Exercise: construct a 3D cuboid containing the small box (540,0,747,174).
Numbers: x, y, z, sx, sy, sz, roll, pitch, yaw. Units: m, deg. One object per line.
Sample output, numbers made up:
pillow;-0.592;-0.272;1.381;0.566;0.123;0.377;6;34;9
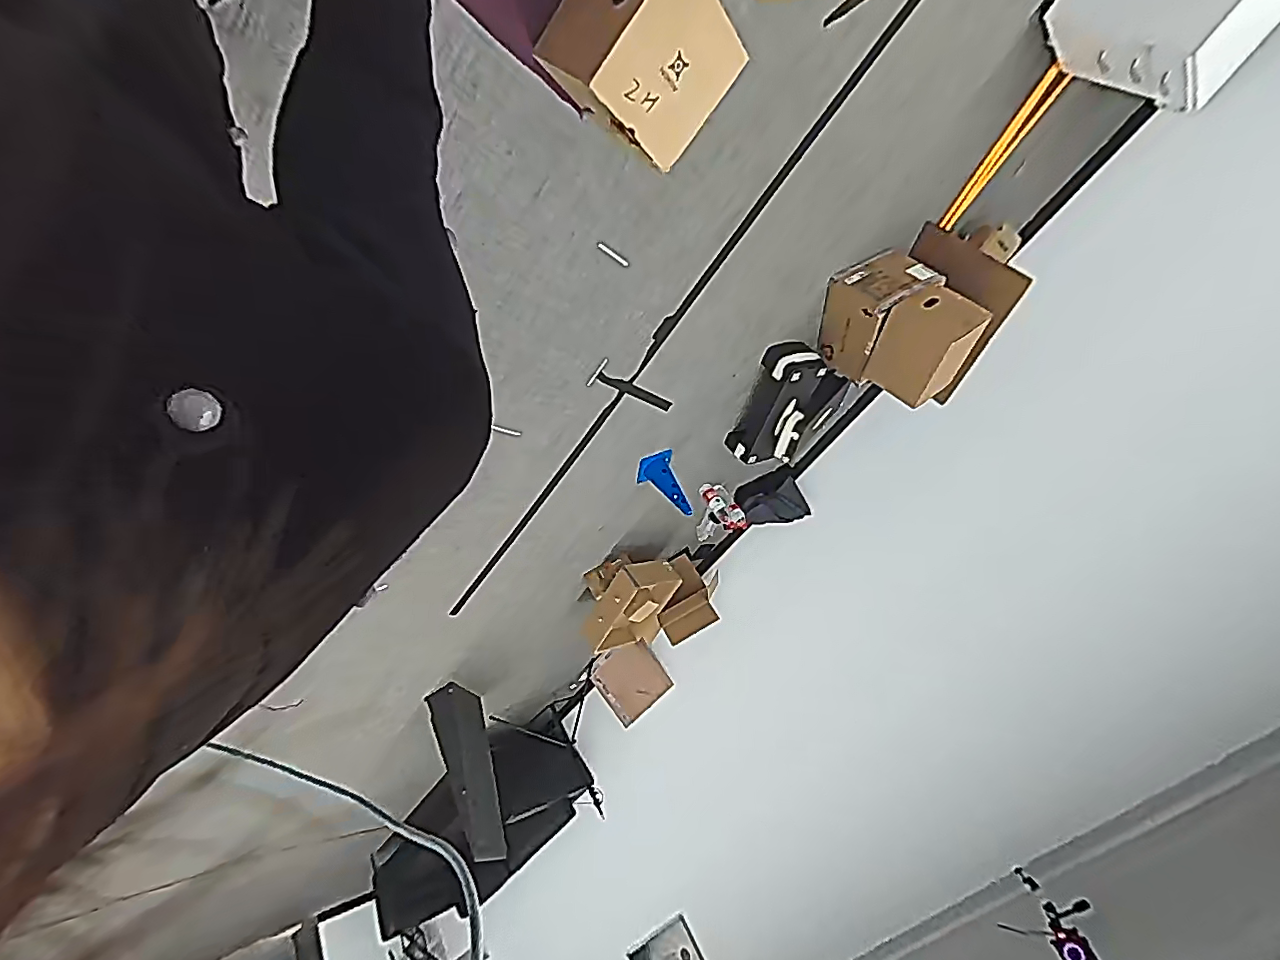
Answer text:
small box;-0.001;-0.555;0.706;0.179;0.176;0.168;-49;145;17
